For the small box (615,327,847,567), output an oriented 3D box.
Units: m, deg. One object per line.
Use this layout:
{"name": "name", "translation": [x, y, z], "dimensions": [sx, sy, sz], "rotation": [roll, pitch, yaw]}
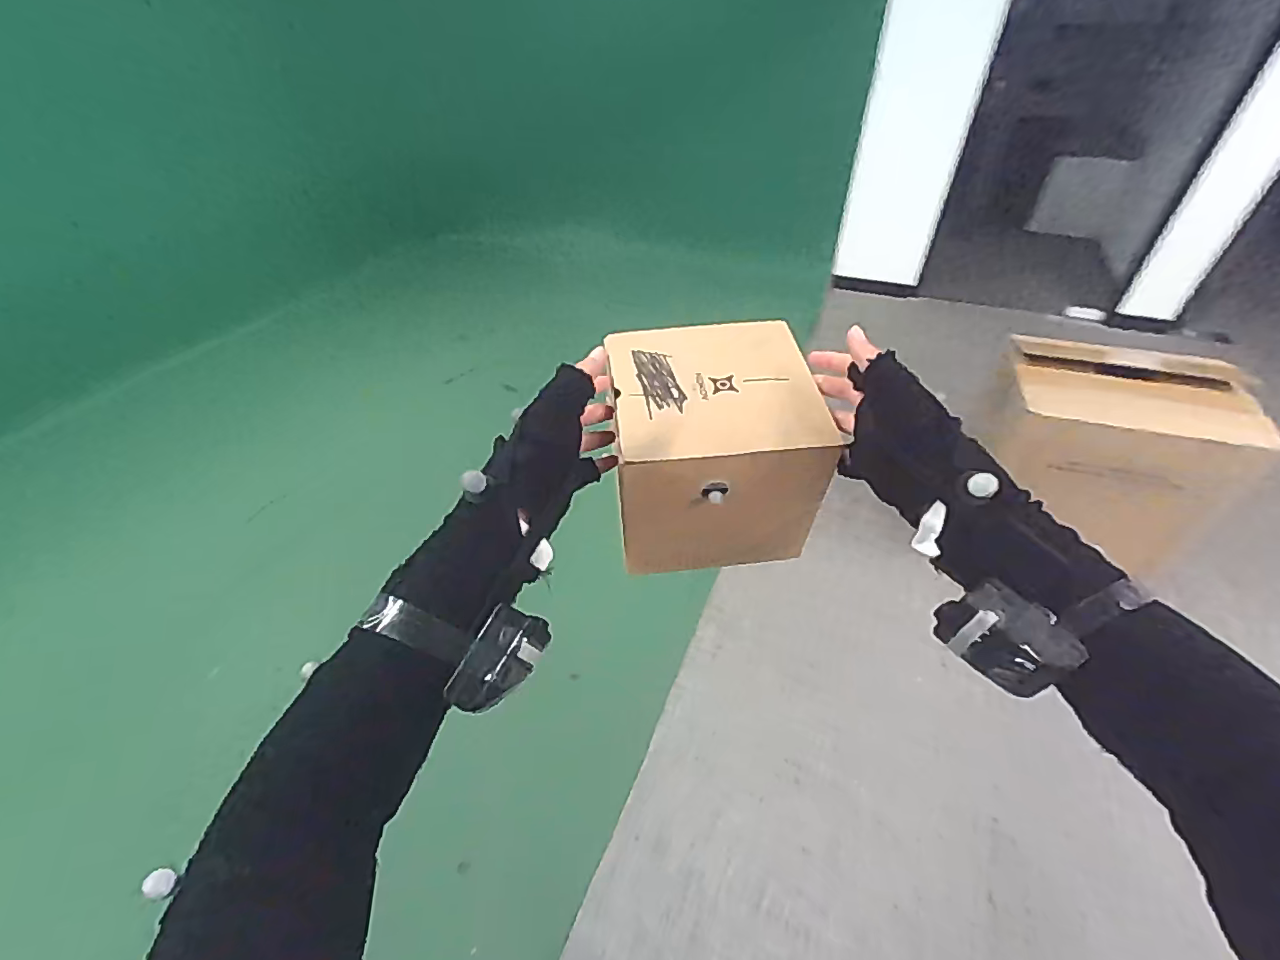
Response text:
{"name": "small box", "translation": [0.071, -0.028, 0.528], "dimensions": [0.179, 0.176, 0.168], "rotation": [-4, 50, -4]}
